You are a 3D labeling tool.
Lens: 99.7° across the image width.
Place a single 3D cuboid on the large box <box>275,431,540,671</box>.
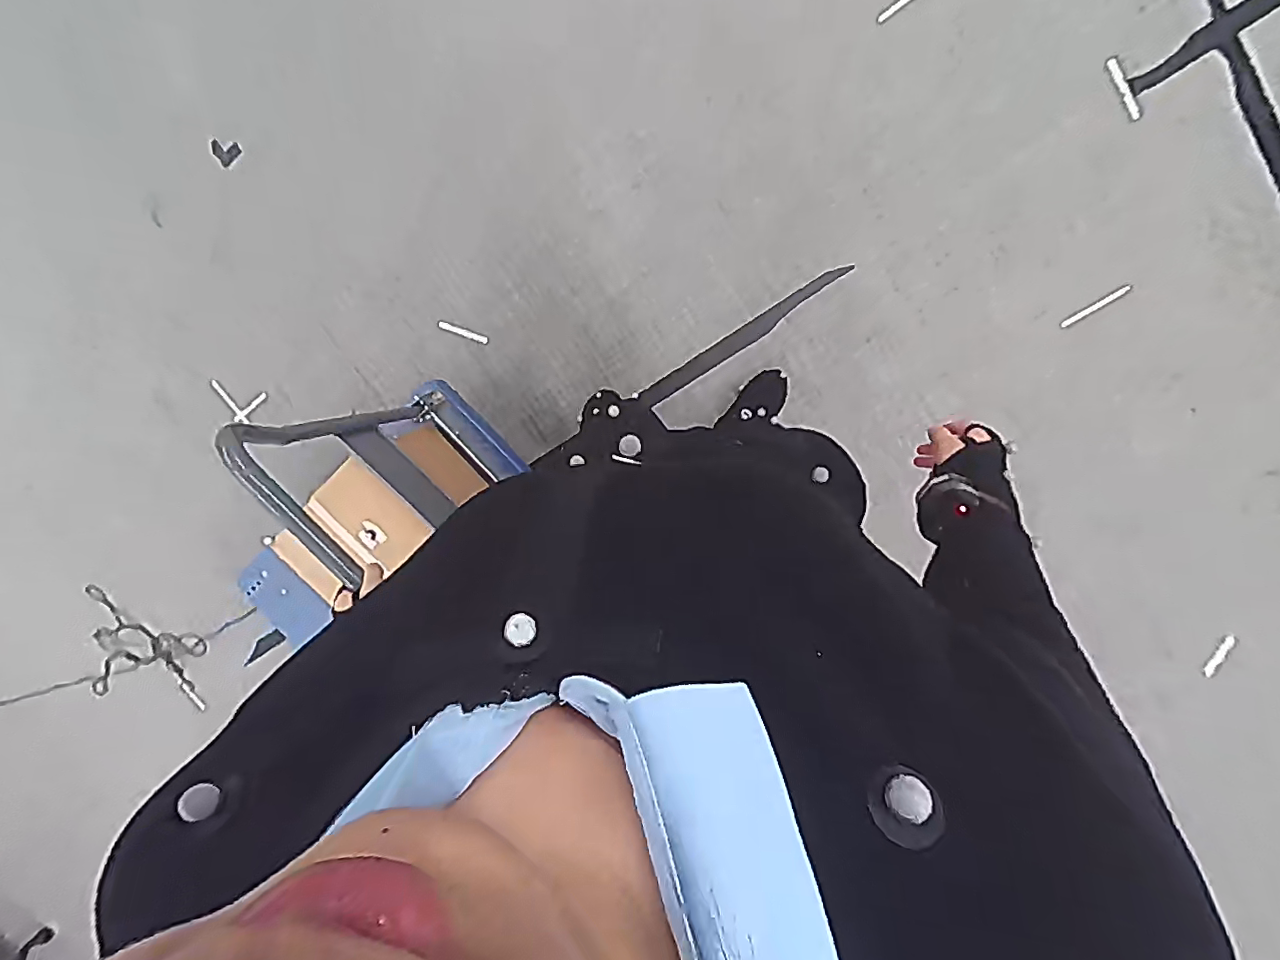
[{"bbox_3d":[-0.510,0.147,1.265,0.320,0.320,0.408,-41,96,13],"label":"large box"}]
